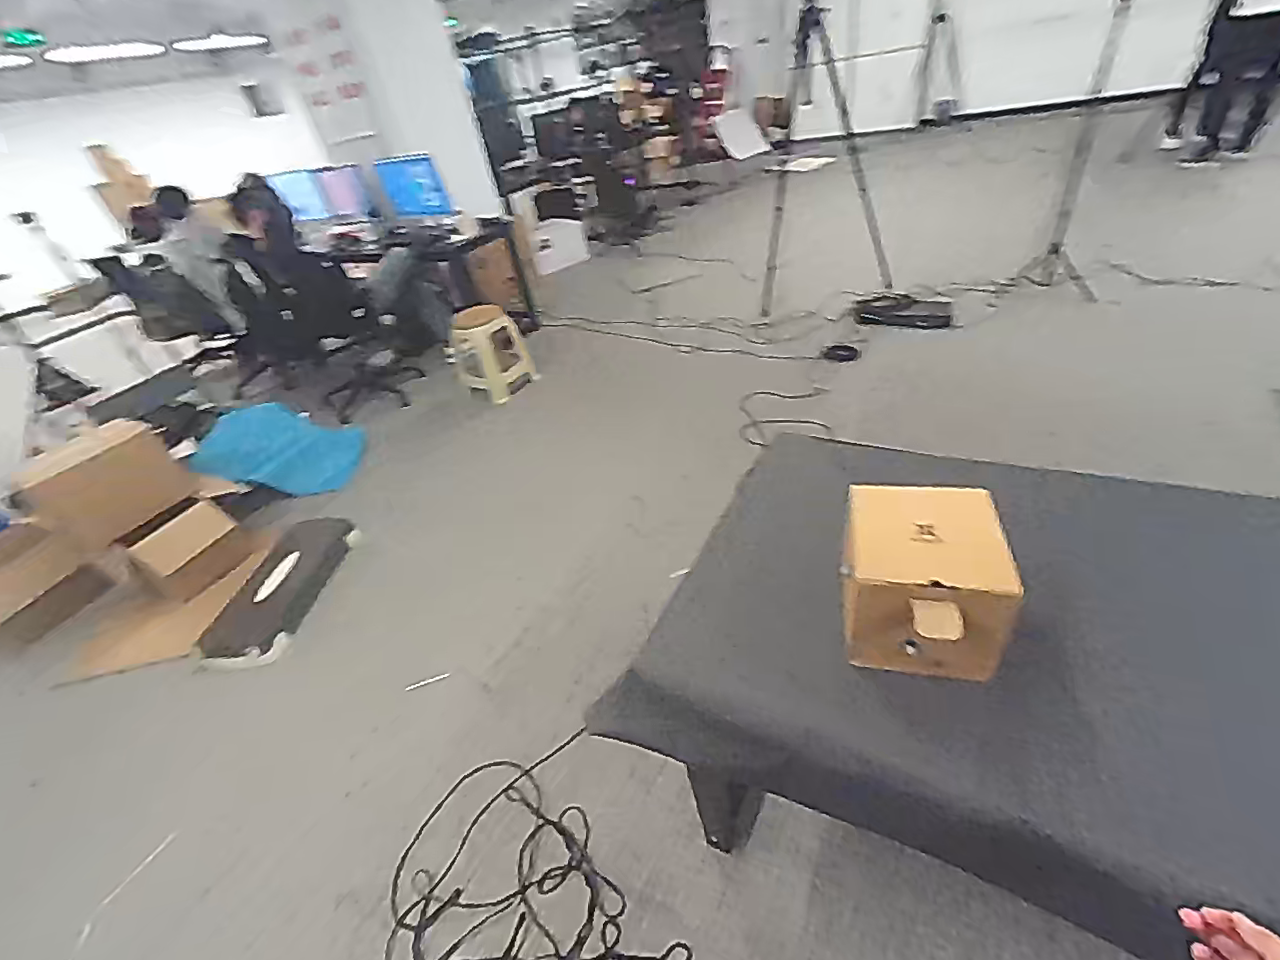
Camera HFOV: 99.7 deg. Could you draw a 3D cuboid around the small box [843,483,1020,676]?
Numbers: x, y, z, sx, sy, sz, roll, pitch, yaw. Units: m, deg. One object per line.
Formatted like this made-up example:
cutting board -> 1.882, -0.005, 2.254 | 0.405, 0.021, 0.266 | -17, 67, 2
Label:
small box -> 0.360, 0.125, 0.707 | 0.168, 0.176, 0.179 | 2, 39, 17
